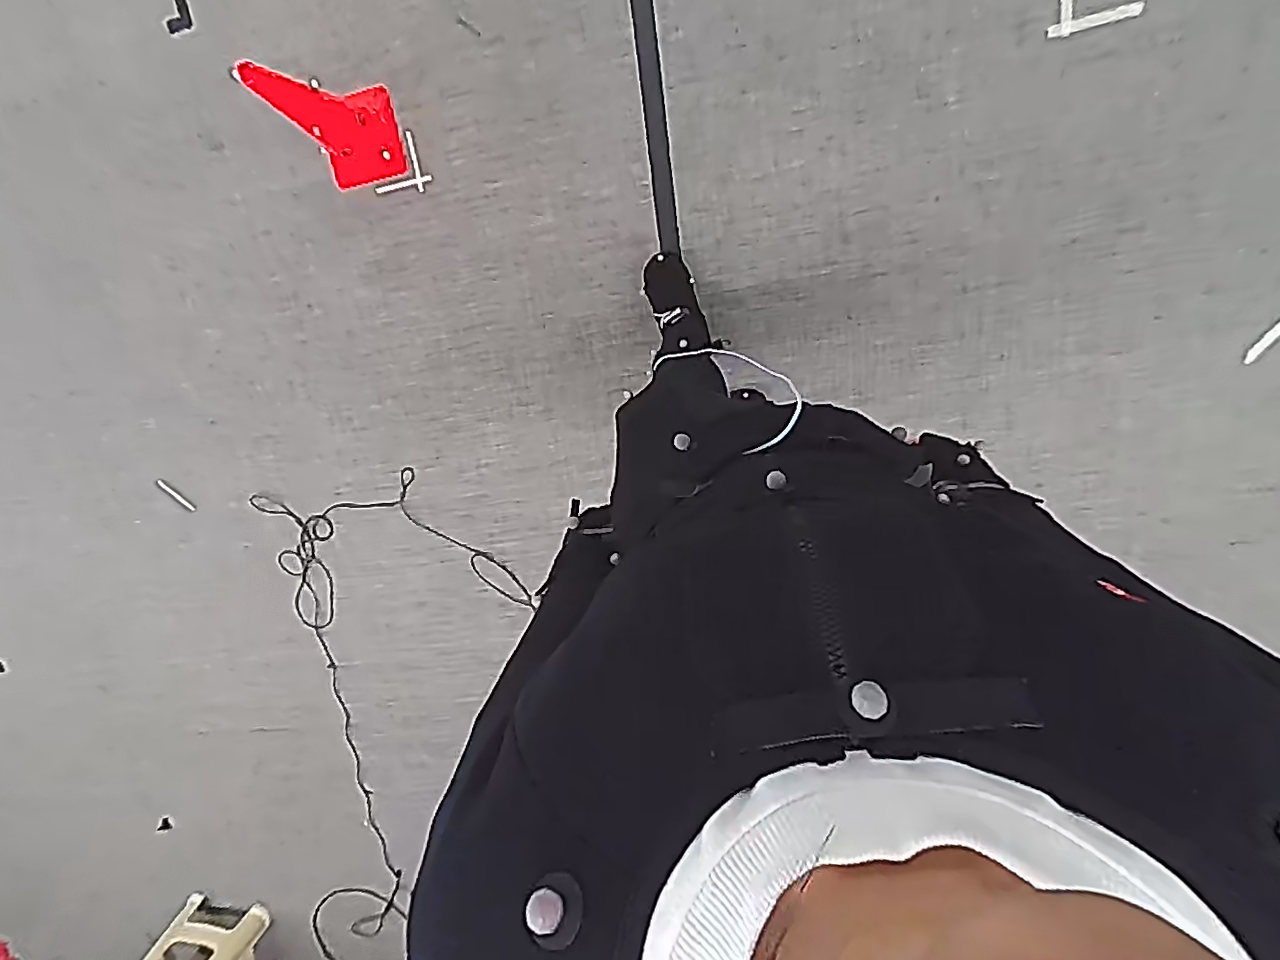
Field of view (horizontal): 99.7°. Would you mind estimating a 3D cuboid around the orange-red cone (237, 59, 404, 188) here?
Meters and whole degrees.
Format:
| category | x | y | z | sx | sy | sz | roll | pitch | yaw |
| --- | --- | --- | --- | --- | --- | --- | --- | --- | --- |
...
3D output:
| category | x | y | z | sx | sy | sz | roll | pitch | yaw |
| --- | --- | --- | --- | --- | --- | --- | --- | --- | --- |
| orange-red cone | -0.707 | -0.797 | 1.164 | 0.198 | 0.360 | 0.199 | -7 | 102 | 8 |
